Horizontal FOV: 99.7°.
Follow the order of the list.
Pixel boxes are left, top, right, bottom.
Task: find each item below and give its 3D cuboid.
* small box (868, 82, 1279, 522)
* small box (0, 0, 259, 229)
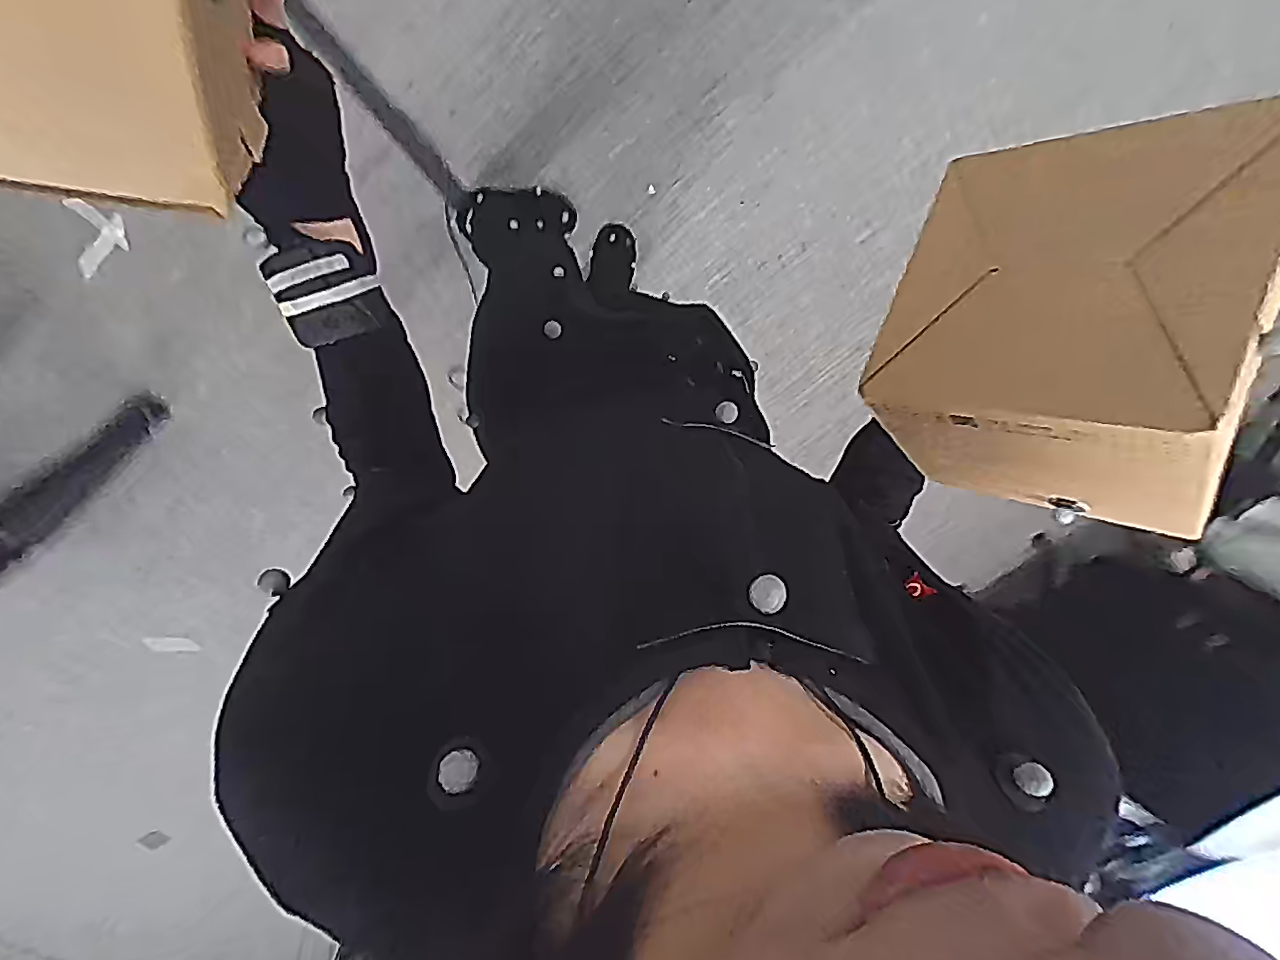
[{"bbox_3d":[0.275,-0.094,0.340,0.176,0.168,0.179,25,85,-41],"label":"small box"},{"bbox_3d":[-0.254,-0.212,0.178,0.179,0.168,0.176,-3,138,-25],"label":"small box"}]
